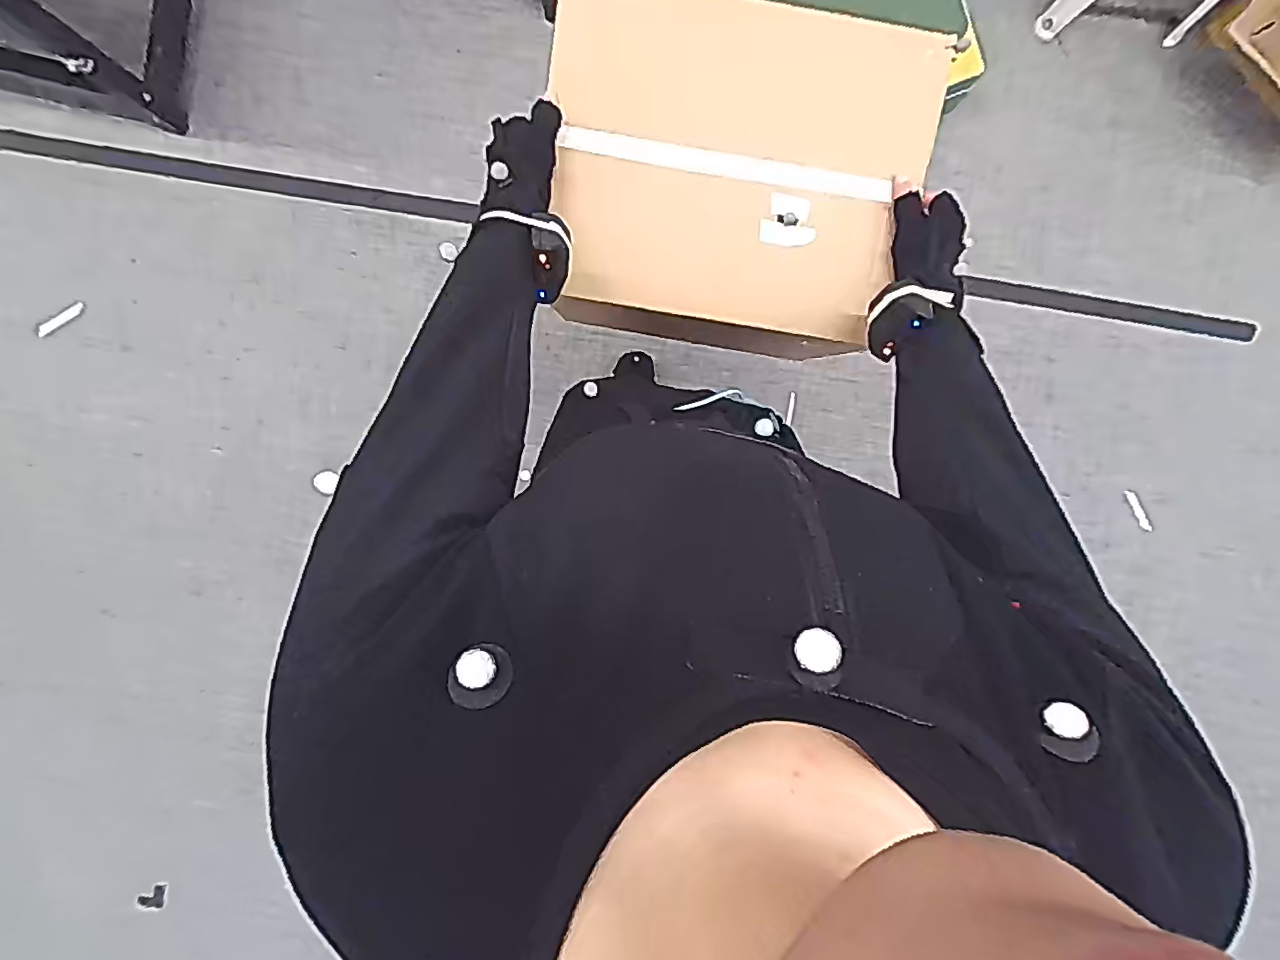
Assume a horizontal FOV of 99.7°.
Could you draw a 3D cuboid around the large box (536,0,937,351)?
[{"bbox_3d":[0.094,-0.366,0.736,0.408,0.320,0.320,9,101,-3],"label":"large box"}]
